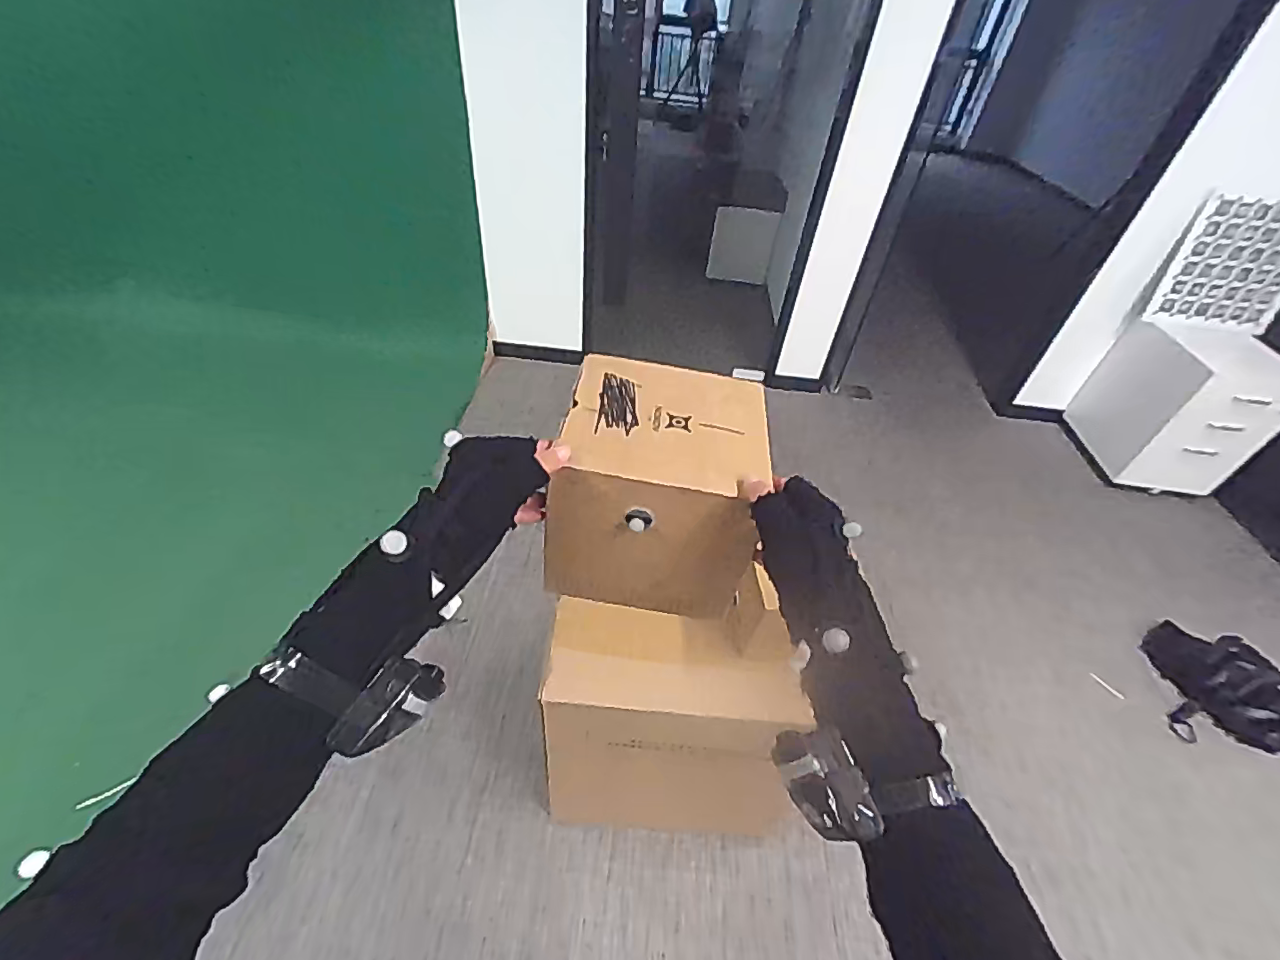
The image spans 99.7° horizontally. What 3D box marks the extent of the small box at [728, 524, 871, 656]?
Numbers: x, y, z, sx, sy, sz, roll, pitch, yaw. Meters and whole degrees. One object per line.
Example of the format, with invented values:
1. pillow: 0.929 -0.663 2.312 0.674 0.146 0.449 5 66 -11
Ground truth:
1. small box: 0.264 0.193 0.942 0.179 0.176 0.168 -1 46 -5

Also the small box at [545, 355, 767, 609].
1. small box: 0.011 0.005 0.524 0.179 0.176 0.168 10 43 -1
